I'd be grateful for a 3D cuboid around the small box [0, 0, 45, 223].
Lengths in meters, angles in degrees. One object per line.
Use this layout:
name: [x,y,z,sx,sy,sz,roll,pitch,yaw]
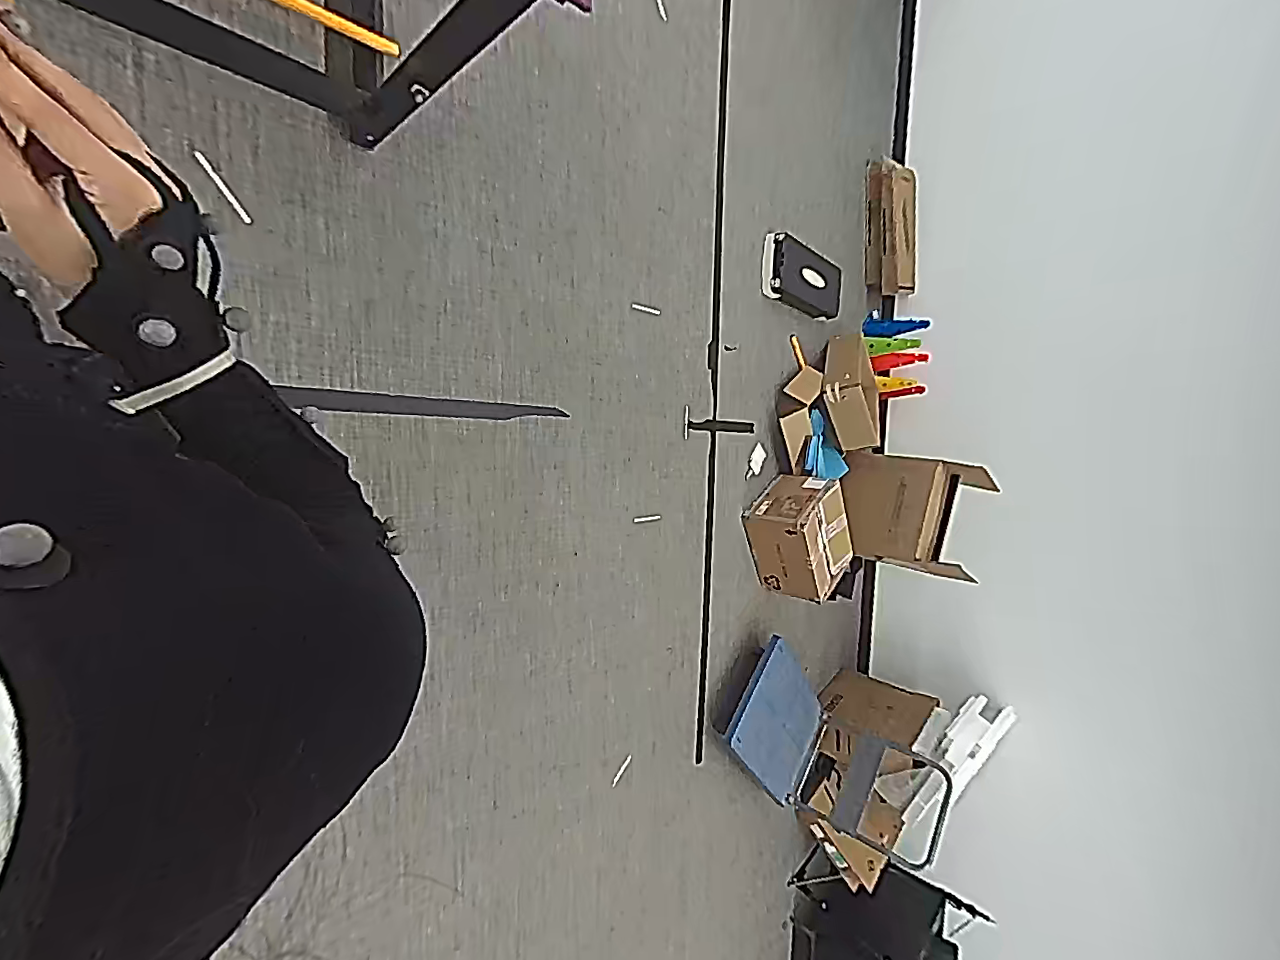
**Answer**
small box: [-0.401,-0.235,0.230,0.179,0.176,0.168,-10,86,-38]
